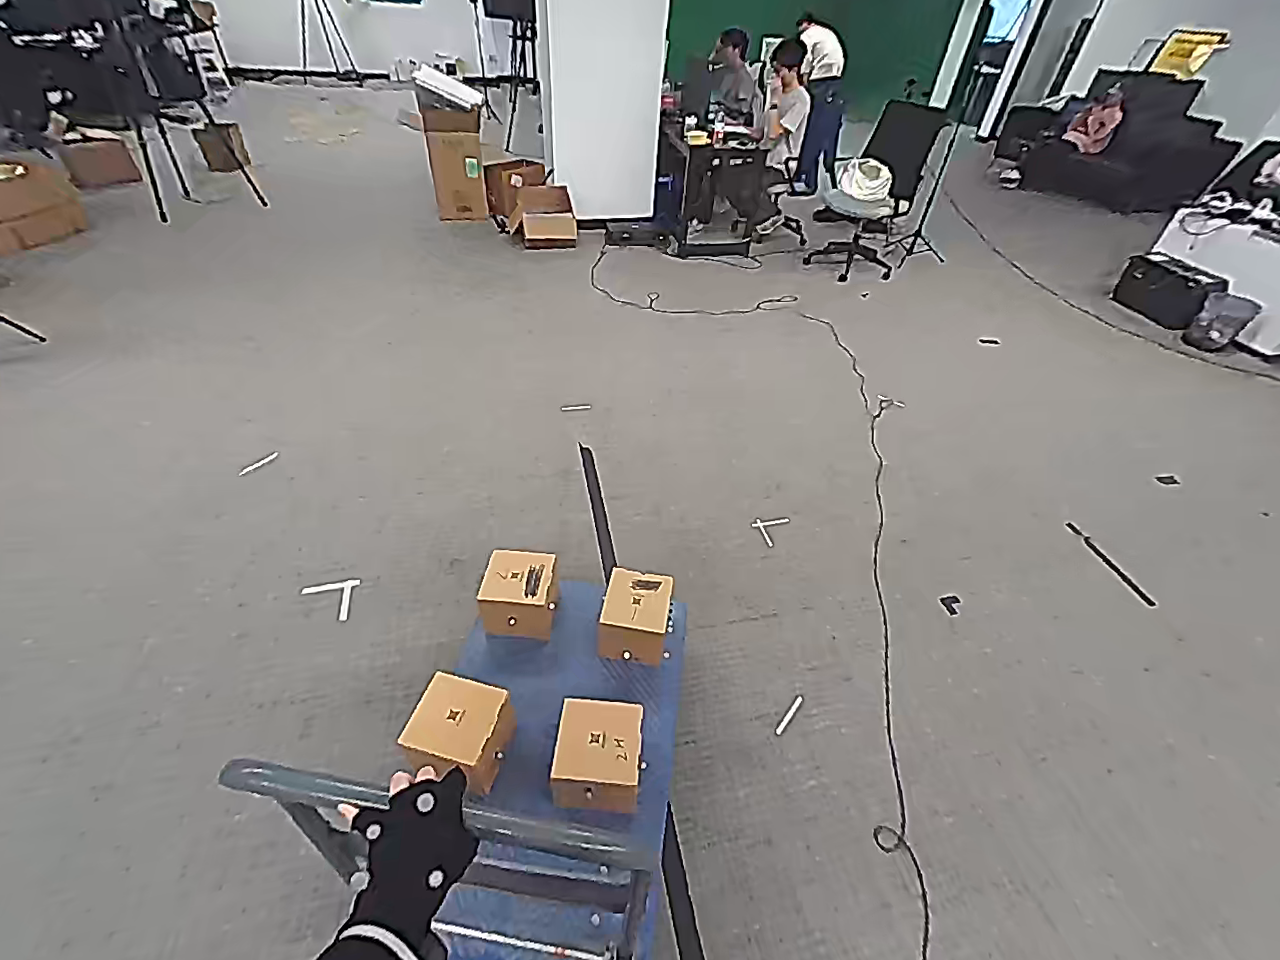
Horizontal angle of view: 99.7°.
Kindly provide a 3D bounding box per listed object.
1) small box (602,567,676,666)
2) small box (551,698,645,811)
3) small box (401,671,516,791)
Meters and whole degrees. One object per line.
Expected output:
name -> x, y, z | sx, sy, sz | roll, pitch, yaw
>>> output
small box -> -0.005, 0.363, 1.435 | 0.168, 0.176, 0.179 | 9, 43, 6
small box -> -0.085, 0.596, 1.171 | 0.179, 0.176, 0.168 | 5, 42, 2
small box -> -0.390, 0.556, 1.193 | 0.179, 0.176, 0.168 | 12, 42, 7
